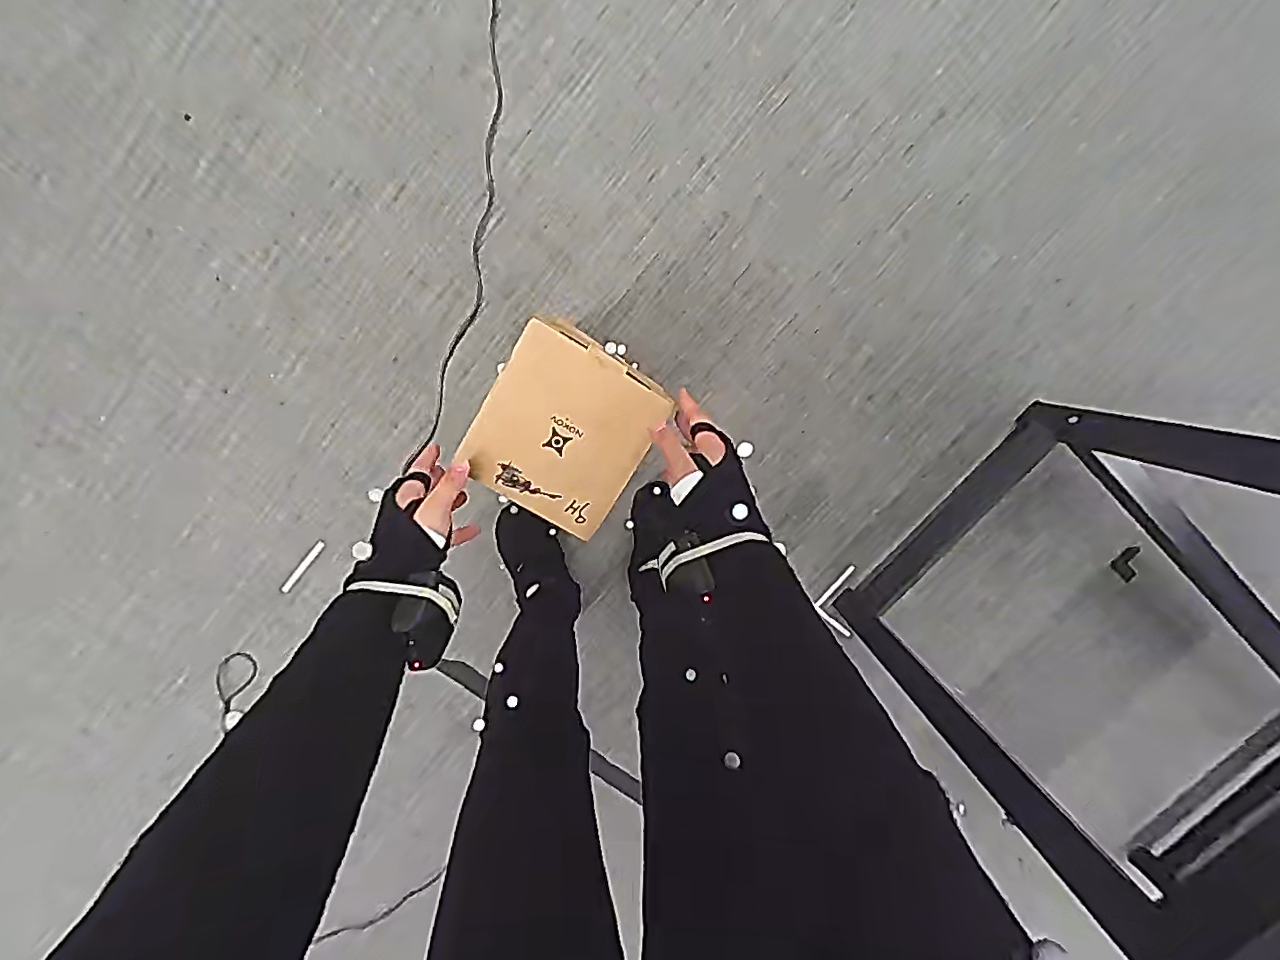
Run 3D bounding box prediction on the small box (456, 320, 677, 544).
[{"bbox_3d":[-0.081,-0.062,0.623,0.168,0.176,0.179,31,99,-10],"label":"small box"}]
